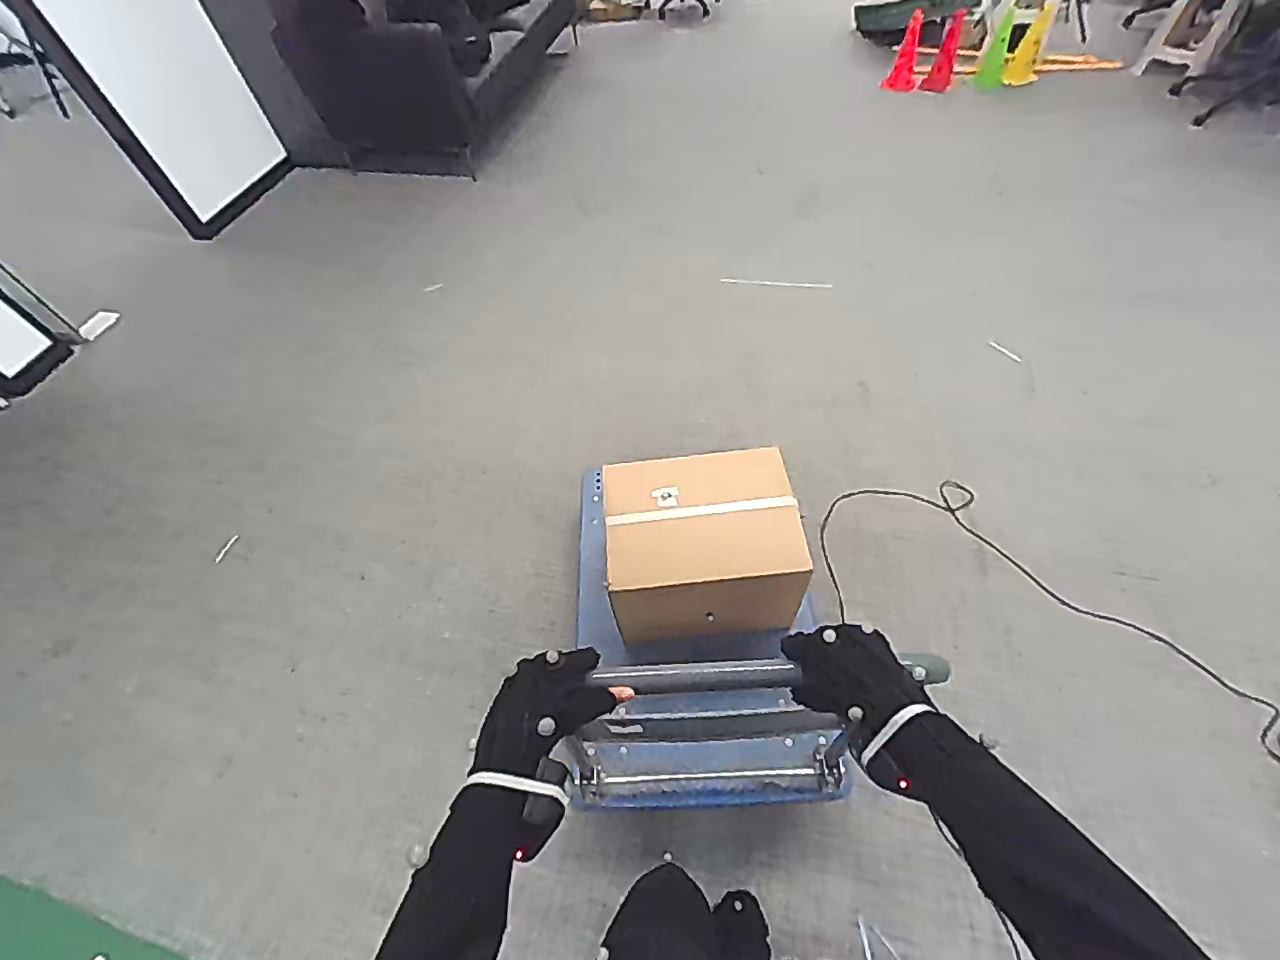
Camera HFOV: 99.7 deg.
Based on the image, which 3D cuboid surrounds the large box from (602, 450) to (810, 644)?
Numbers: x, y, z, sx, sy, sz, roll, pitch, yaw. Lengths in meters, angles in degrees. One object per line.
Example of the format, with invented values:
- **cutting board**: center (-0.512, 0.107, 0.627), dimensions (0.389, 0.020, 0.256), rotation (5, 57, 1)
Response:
- **large box**: center (0.138, 0.166, 1.263), dimensions (0.408, 0.320, 0.320), rotation (-7, 53, 1)
